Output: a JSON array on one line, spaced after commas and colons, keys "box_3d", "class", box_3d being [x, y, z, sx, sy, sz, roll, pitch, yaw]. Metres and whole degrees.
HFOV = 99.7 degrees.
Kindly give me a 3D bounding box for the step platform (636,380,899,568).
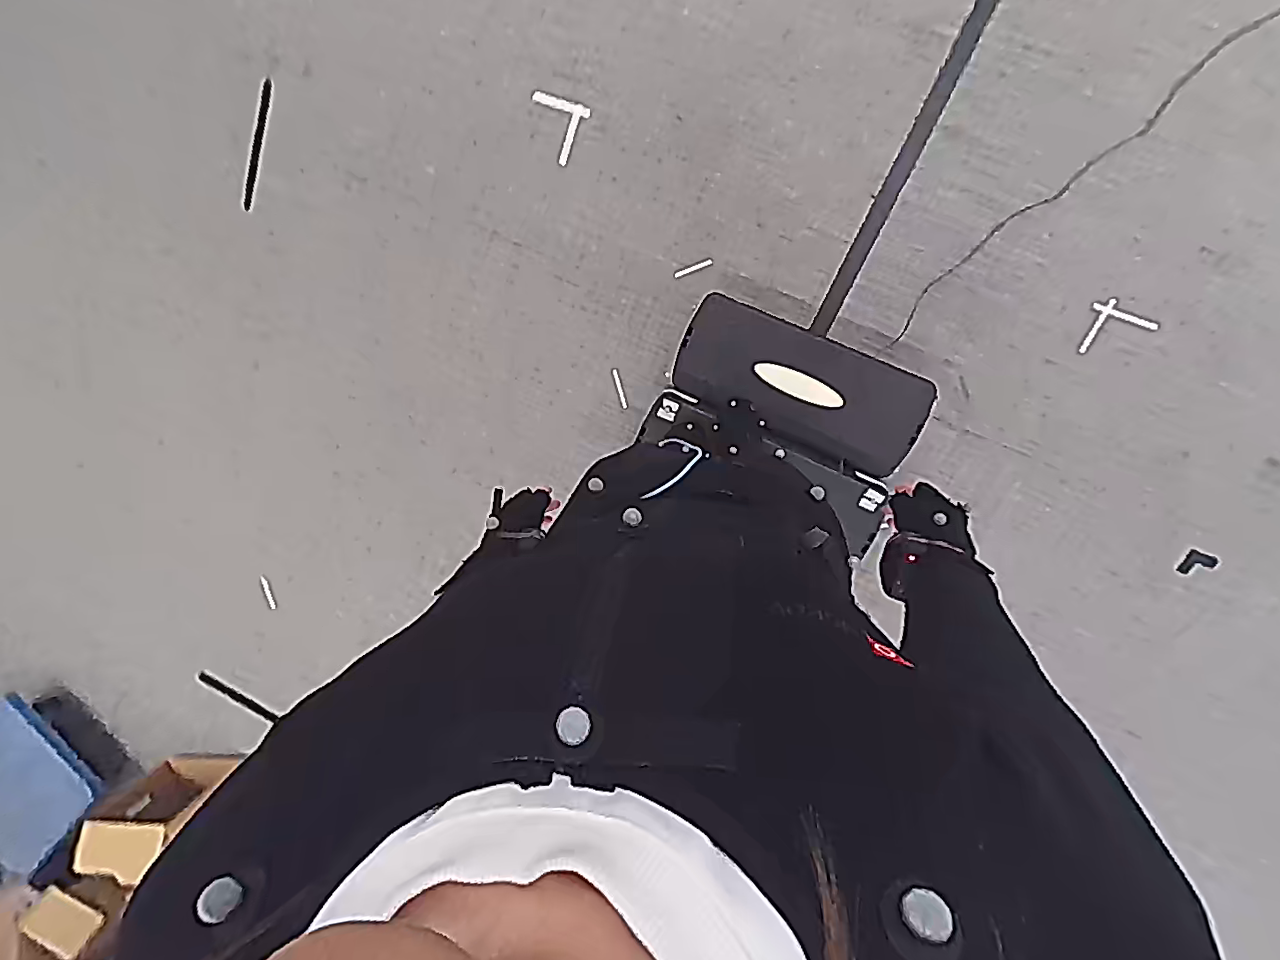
[{"box_3d": [0.335, -0.024, 1.489, 0.684, 0.204, 0.286, 24, 104, 8], "class": "step platform"}]
